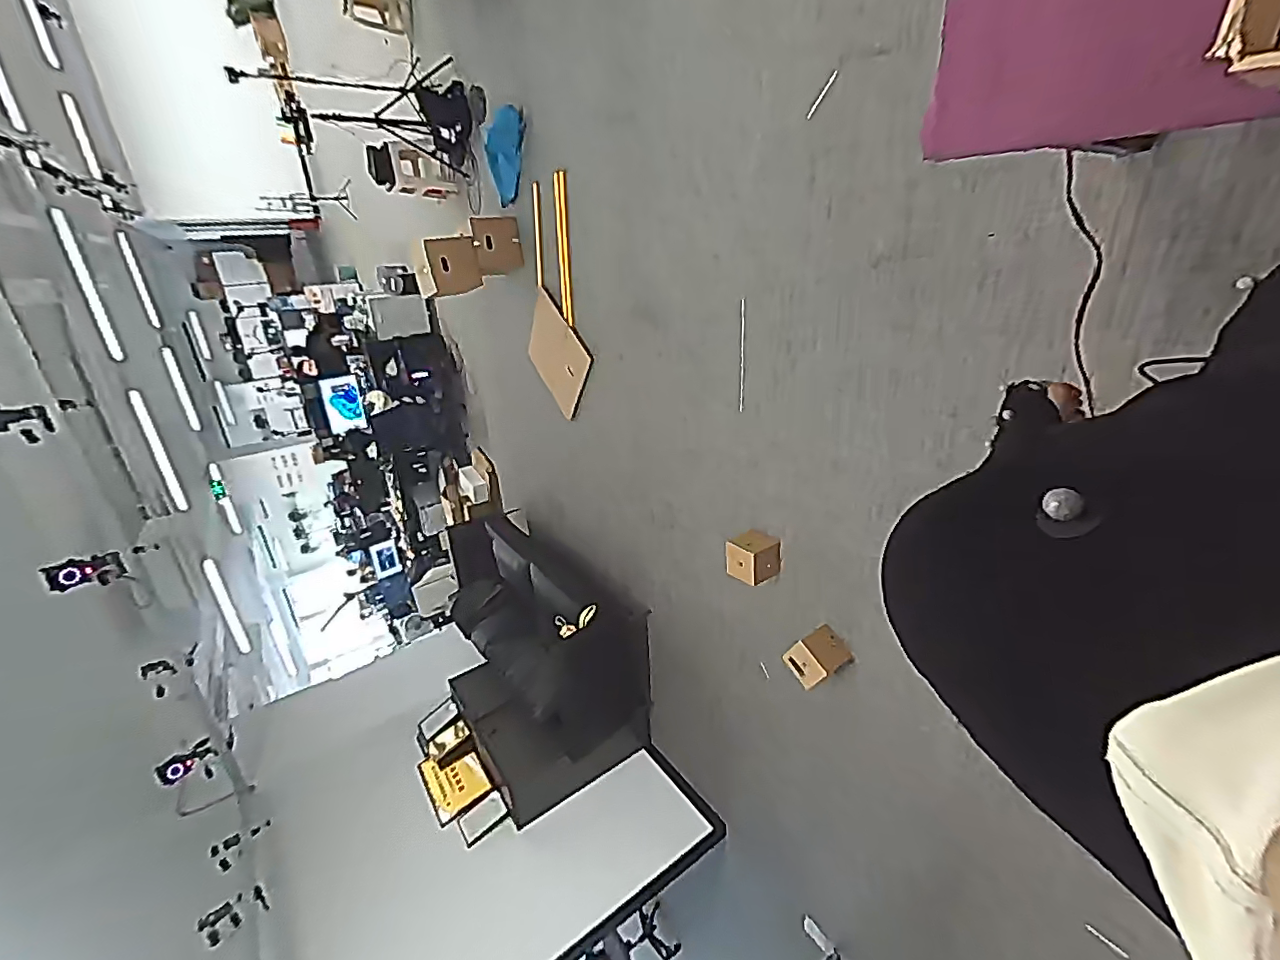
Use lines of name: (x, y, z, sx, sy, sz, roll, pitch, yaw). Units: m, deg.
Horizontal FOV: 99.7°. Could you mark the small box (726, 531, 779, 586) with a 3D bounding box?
small box: (0.510, 0.345, 2.440, 0.179, 0.176, 0.168, 23, 124, 51)
